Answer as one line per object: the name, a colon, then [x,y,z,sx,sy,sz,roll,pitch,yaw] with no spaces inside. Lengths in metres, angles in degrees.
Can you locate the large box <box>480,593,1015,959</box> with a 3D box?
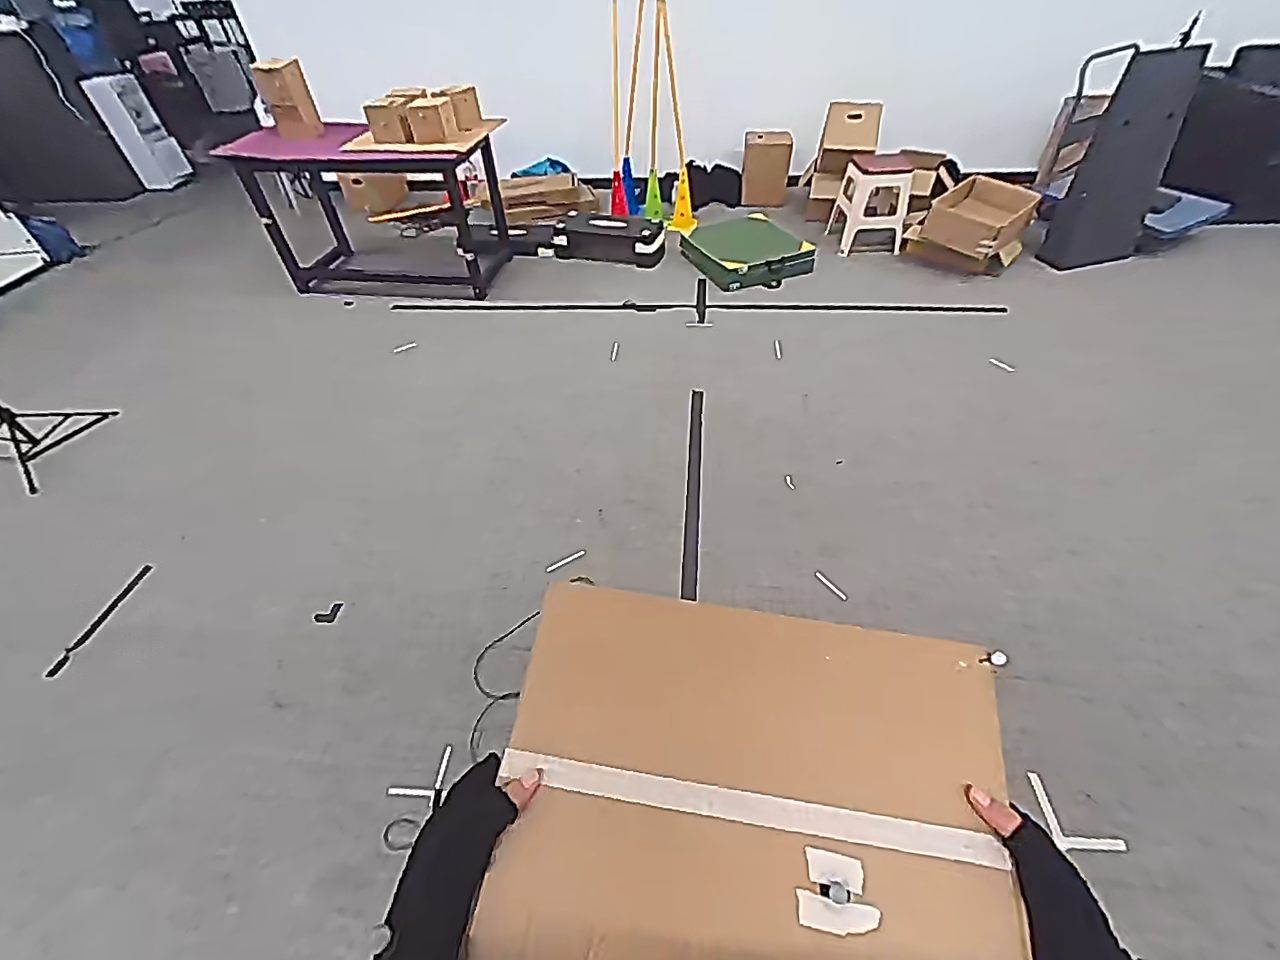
large box: [0.094,0.335,0.580,0.408,0.320,0.320,8,64,5]
